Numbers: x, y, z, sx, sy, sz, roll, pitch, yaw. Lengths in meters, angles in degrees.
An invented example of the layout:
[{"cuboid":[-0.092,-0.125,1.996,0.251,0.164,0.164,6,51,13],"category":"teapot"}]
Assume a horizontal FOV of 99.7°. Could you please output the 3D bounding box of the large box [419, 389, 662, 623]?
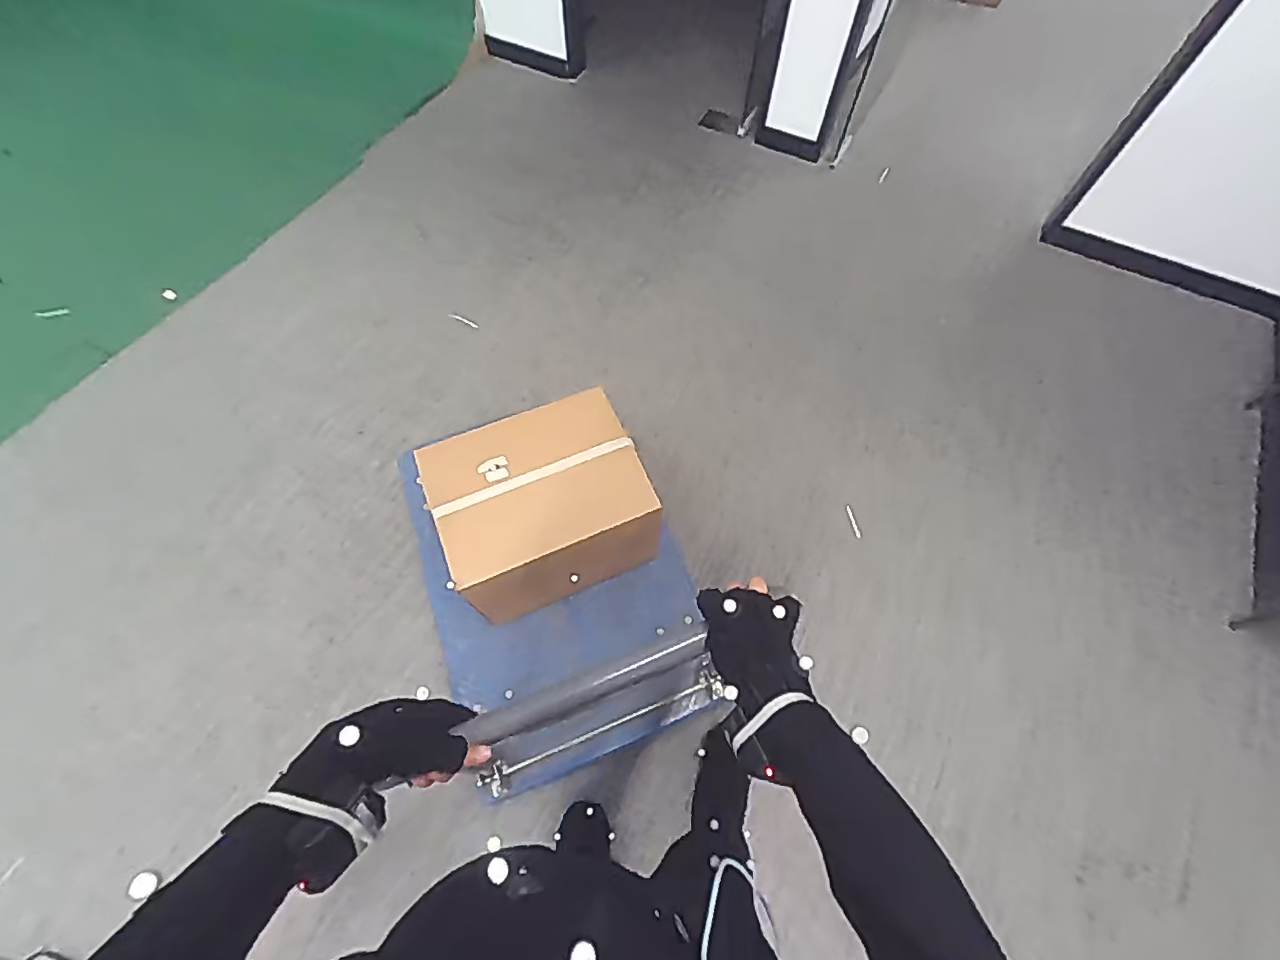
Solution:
[{"cuboid":[-0.200,0.067,1.188,0.408,0.320,0.320,-22,65,-11],"category":"large box"}]
